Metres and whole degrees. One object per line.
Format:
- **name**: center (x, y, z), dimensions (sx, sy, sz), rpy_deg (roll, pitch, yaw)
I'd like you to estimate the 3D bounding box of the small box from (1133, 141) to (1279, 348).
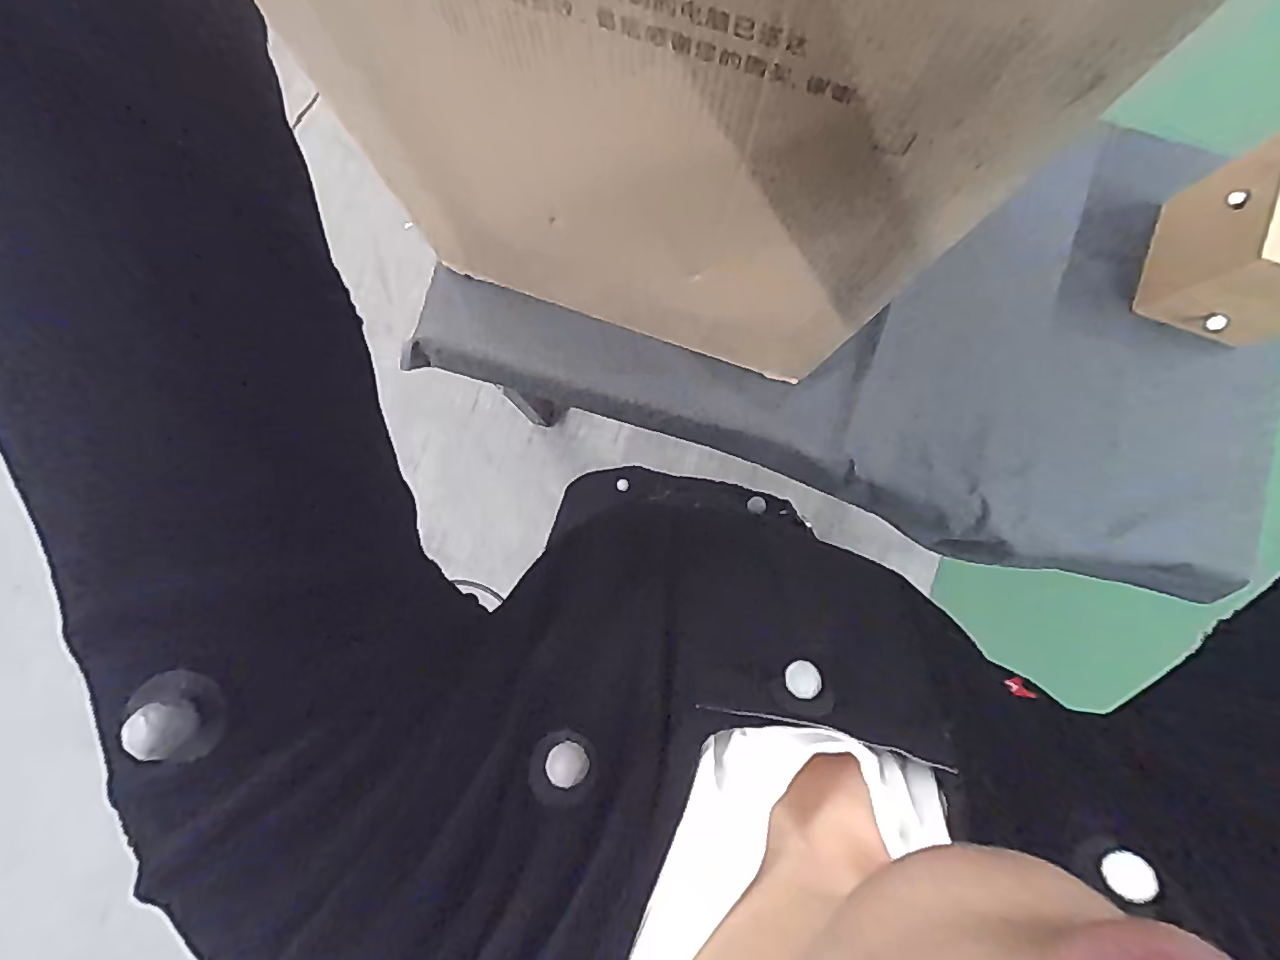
- **small box**: center (0.813, -0.301, 0.711), dimensions (0.168, 0.176, 0.179), rpy_deg (20, 86, 1)
